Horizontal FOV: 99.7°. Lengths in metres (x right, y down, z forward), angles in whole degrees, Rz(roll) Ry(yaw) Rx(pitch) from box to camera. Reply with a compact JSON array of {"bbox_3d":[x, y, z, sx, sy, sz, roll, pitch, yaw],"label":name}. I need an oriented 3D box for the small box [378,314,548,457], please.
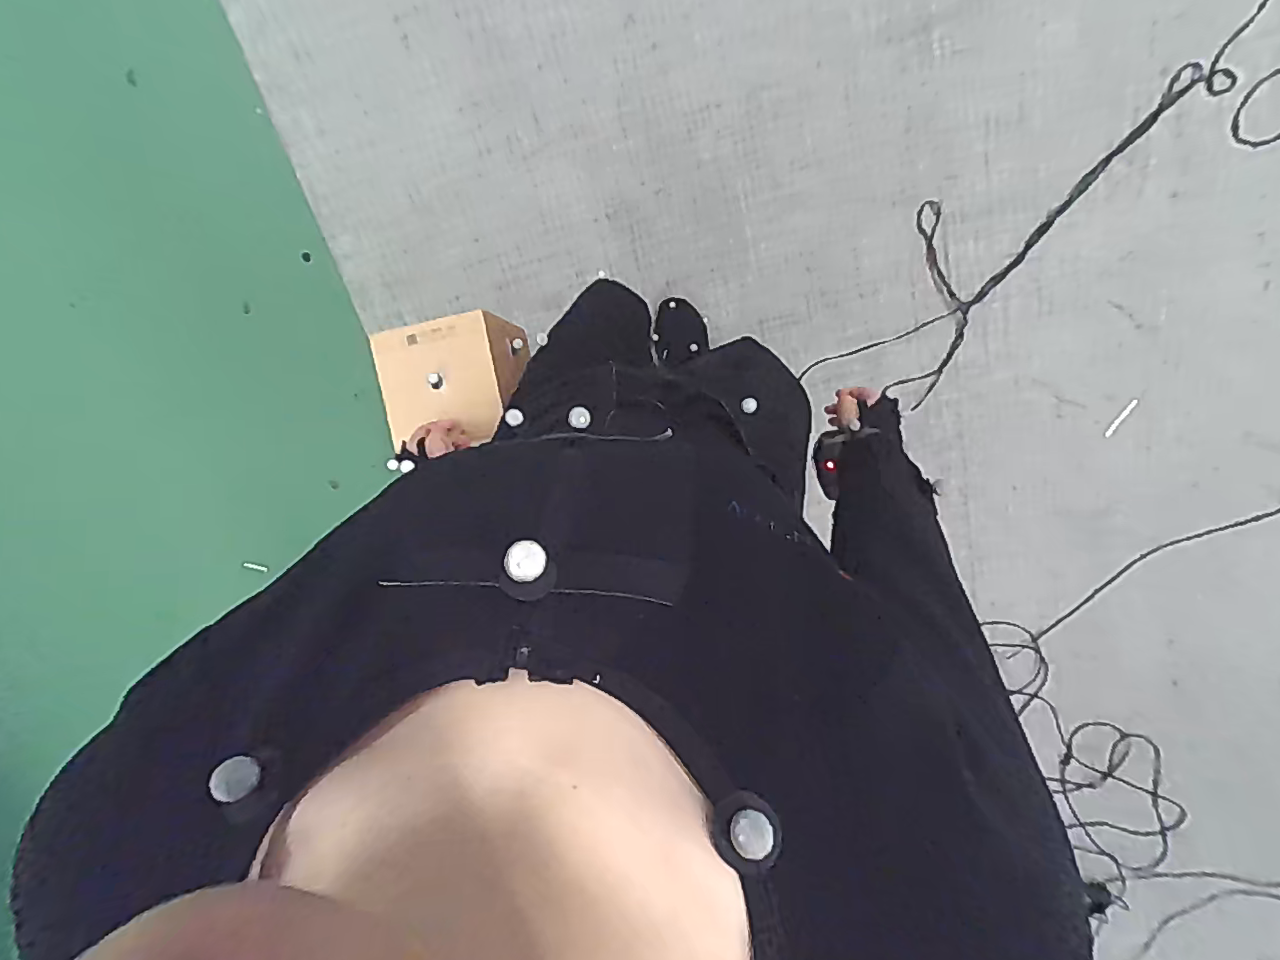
[{"bbox_3d":[-0.255,-0.138,0.804,0.168,0.179,0.176,-11,96,9],"label":"small box"}]
